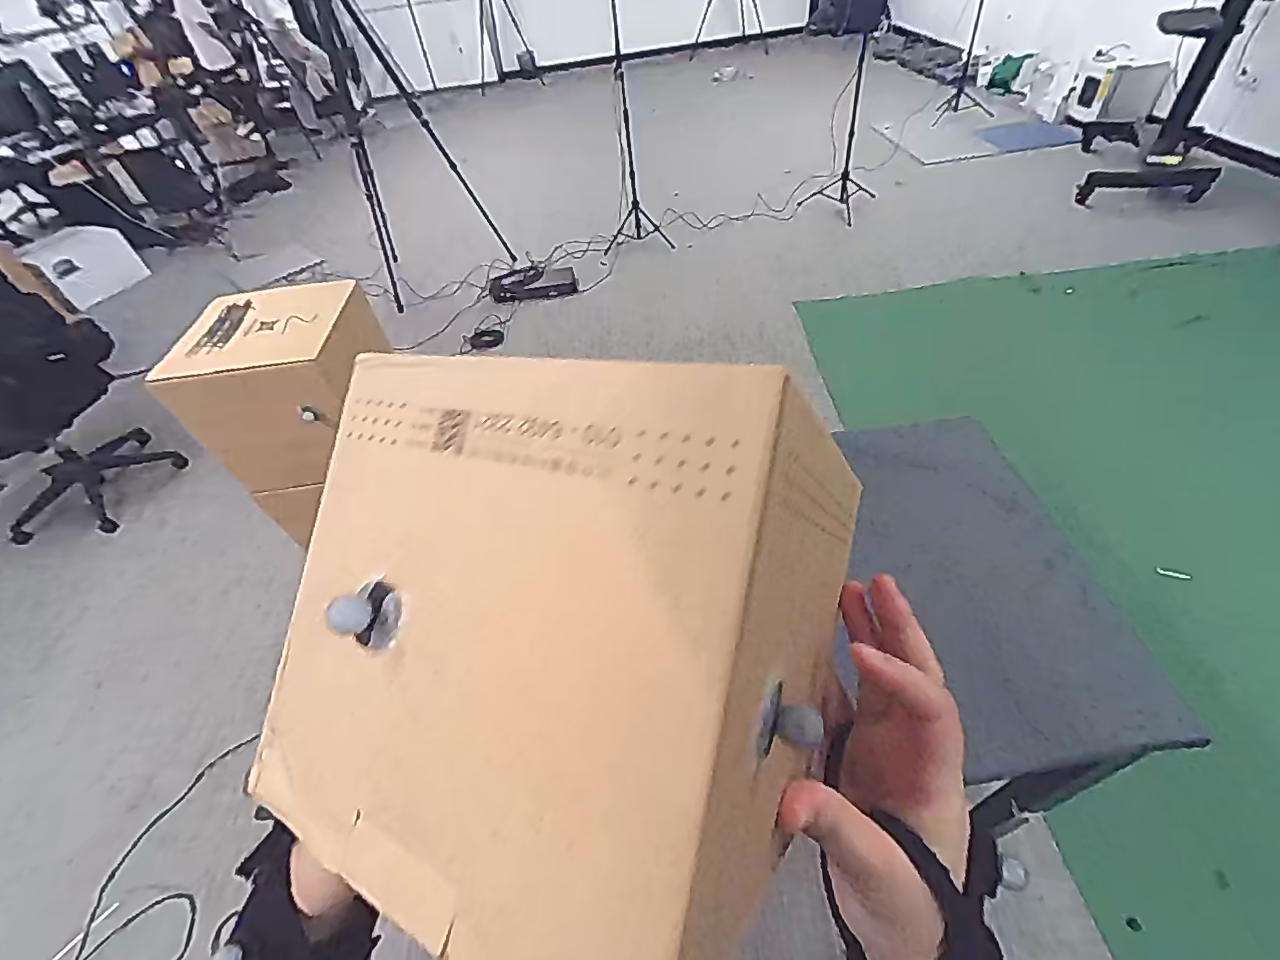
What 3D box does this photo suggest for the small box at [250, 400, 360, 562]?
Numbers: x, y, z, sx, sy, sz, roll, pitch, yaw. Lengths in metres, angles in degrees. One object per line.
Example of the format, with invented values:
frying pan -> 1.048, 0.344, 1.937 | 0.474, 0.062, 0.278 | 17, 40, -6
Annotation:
small box -> -0.389, 0.003, 0.769 | 0.179, 0.176, 0.168 | -8, 48, 1

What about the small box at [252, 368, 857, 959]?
small box -> -0.015, 0.057, 0.232 | 0.168, 0.179, 0.176 | 10, 87, 30
